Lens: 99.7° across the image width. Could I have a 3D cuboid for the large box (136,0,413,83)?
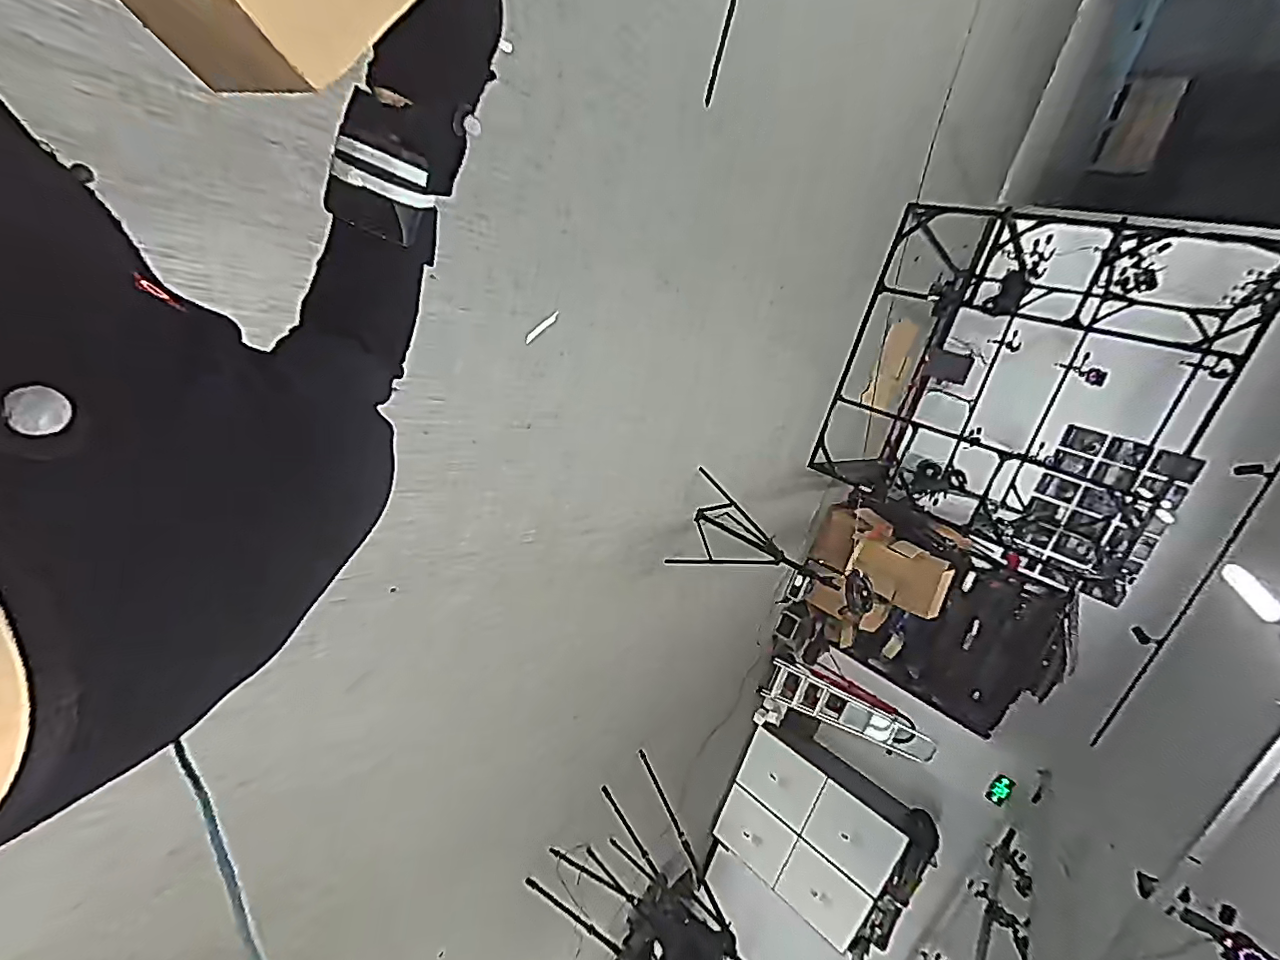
[{"bbox_3d":[-0.295,-0.524,0.298,0.320,0.320,0.408,-51,143,-7],"label":"large box"}]
